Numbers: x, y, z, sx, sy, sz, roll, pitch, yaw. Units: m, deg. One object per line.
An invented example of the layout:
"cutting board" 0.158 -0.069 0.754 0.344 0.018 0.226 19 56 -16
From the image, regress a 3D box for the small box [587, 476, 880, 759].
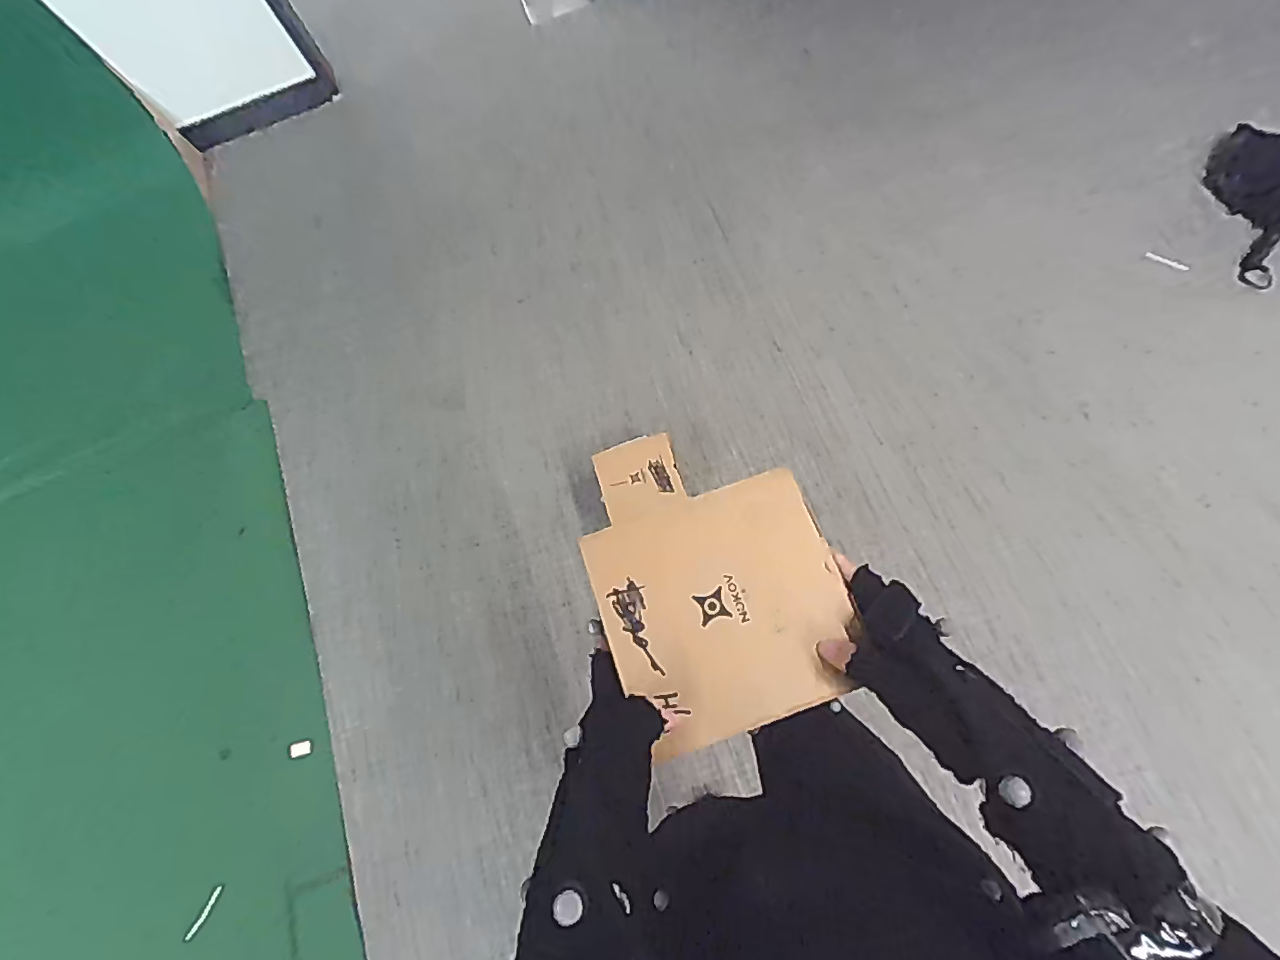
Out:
"small box" 0.066 0.119 0.471 0.179 0.176 0.168 -18 69 -4

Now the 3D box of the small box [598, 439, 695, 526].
"small box" 0.018 0.027 1.247 0.179 0.176 0.168 -20 75 0
